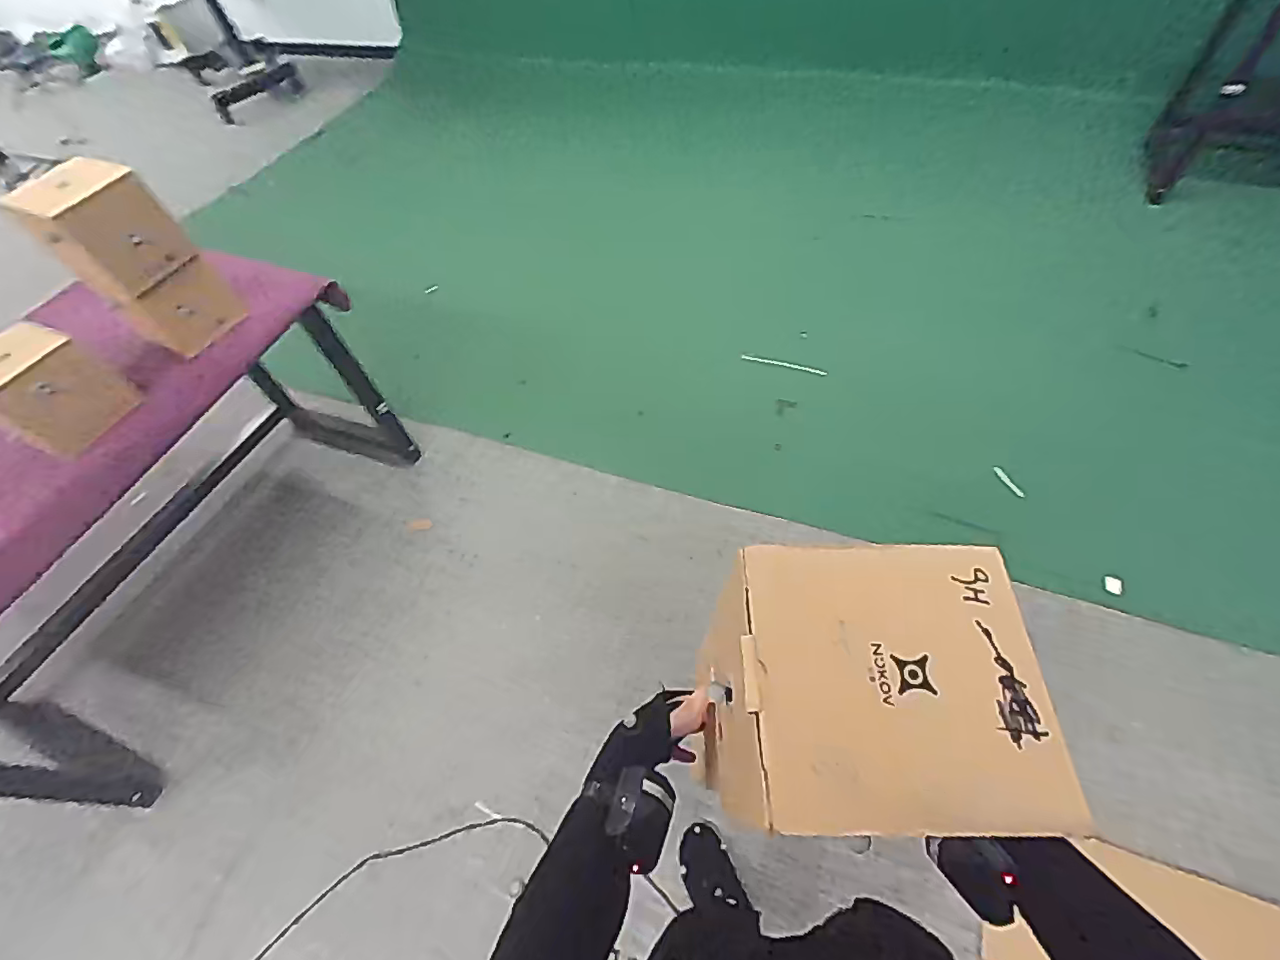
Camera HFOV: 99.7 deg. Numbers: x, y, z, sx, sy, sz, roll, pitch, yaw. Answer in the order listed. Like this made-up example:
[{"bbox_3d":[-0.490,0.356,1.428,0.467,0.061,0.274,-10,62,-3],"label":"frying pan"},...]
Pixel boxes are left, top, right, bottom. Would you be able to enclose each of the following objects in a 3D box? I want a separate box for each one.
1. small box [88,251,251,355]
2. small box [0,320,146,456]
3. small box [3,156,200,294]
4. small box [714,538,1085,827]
[{"bbox_3d":[-1.011,-0.398,1.177,0.179,0.176,0.168,22,62,19],"label":"small box"},{"bbox_3d":[-1.124,-0.171,1.034,0.168,0.176,0.179,18,59,18],"label":"small box"},{"bbox_3d":[-1.011,-0.482,1.034,0.179,0.176,0.168,19,60,18],"label":"small box"},{"bbox_3d":[0.148,0.150,0.391,0.179,0.176,0.168,0,61,0],"label":"small box"}]
